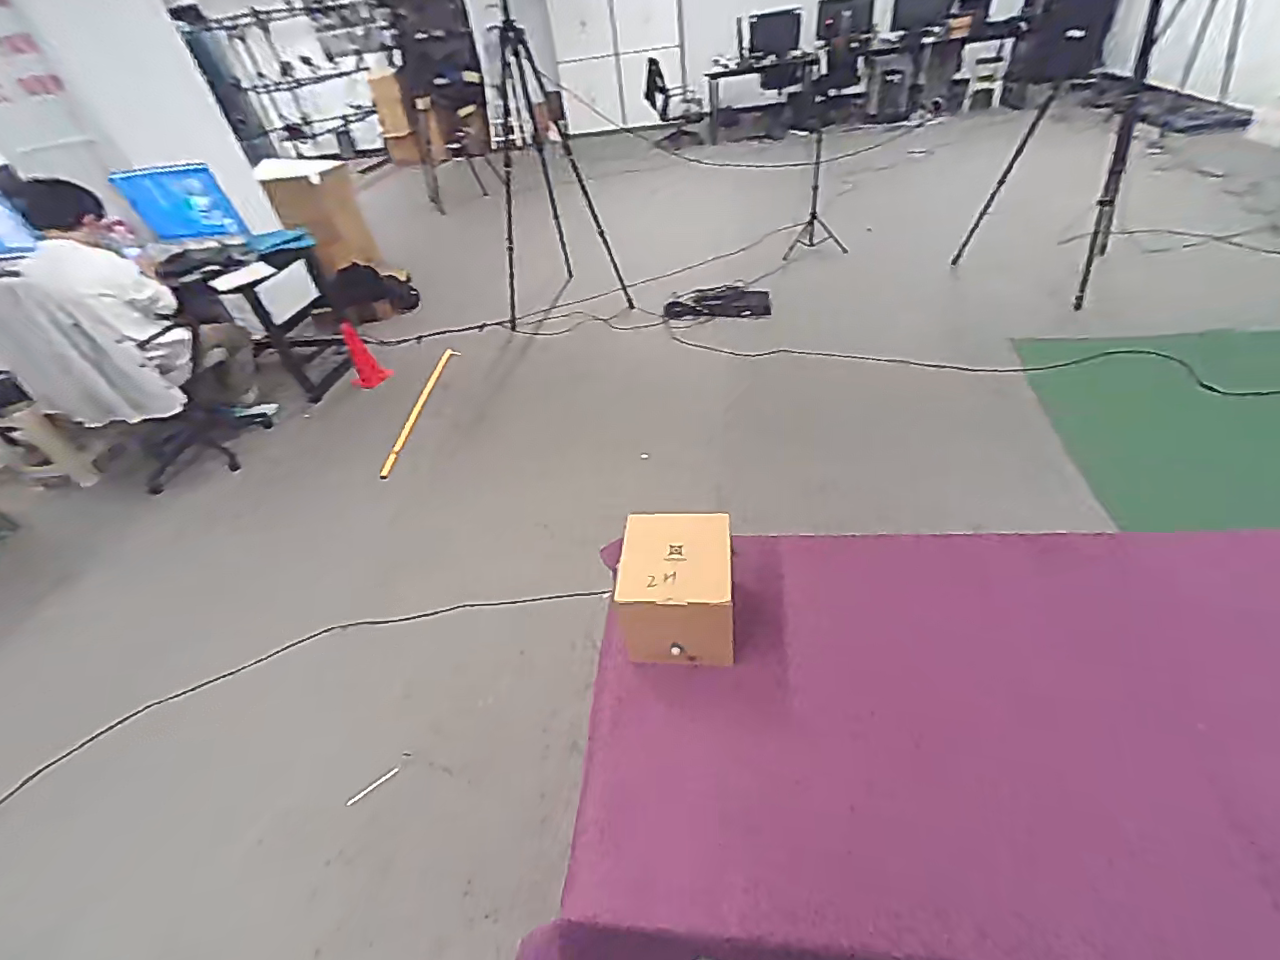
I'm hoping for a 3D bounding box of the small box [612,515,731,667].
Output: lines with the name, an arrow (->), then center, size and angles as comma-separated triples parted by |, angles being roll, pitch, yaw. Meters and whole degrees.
small box -> 0.059, 0.174, 0.867 | 0.168, 0.176, 0.179 | -1, 42, 10
